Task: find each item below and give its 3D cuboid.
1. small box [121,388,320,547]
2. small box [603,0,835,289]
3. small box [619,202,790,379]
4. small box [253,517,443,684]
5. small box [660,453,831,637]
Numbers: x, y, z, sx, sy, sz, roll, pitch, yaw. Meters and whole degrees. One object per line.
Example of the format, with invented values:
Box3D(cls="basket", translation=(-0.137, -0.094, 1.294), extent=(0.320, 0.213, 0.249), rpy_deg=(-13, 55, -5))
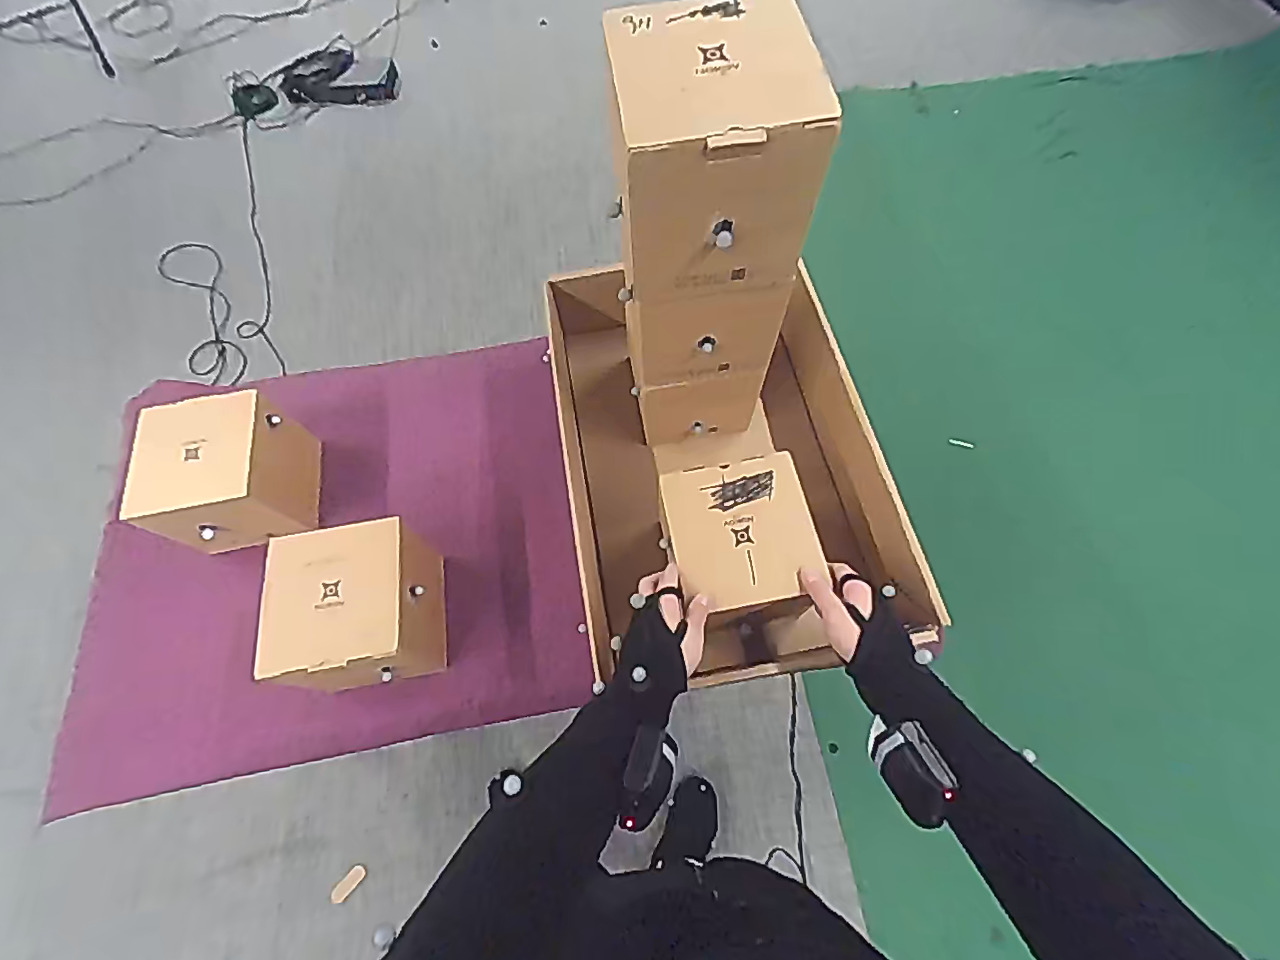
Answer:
Box3D(cls="small box", translation=(-0.611, -0.009, 0.815), extent=(0.168, 0.176, 0.179), rpy_deg=(-11, 65, -4))
Box3D(cls="small box", translation=(0.062, -0.301, 0.511), extent=(0.168, 0.176, 0.179), rpy_deg=(-8, 68, -1))
Box3D(cls="small box", translation=(0.070, -0.239, 0.662), extent=(0.168, 0.176, 0.179), rpy_deg=(-8, 67, -2))
Box3D(cls="small box", translation=(-0.373, 0.170, 0.726), extent=(0.168, 0.176, 0.179), rpy_deg=(-9, 64, -3))
Box3D(cls="small box", translation=(0.119, 0.090, 0.694), extent=(0.168, 0.176, 0.179), rpy_deg=(-10, 66, -1))
